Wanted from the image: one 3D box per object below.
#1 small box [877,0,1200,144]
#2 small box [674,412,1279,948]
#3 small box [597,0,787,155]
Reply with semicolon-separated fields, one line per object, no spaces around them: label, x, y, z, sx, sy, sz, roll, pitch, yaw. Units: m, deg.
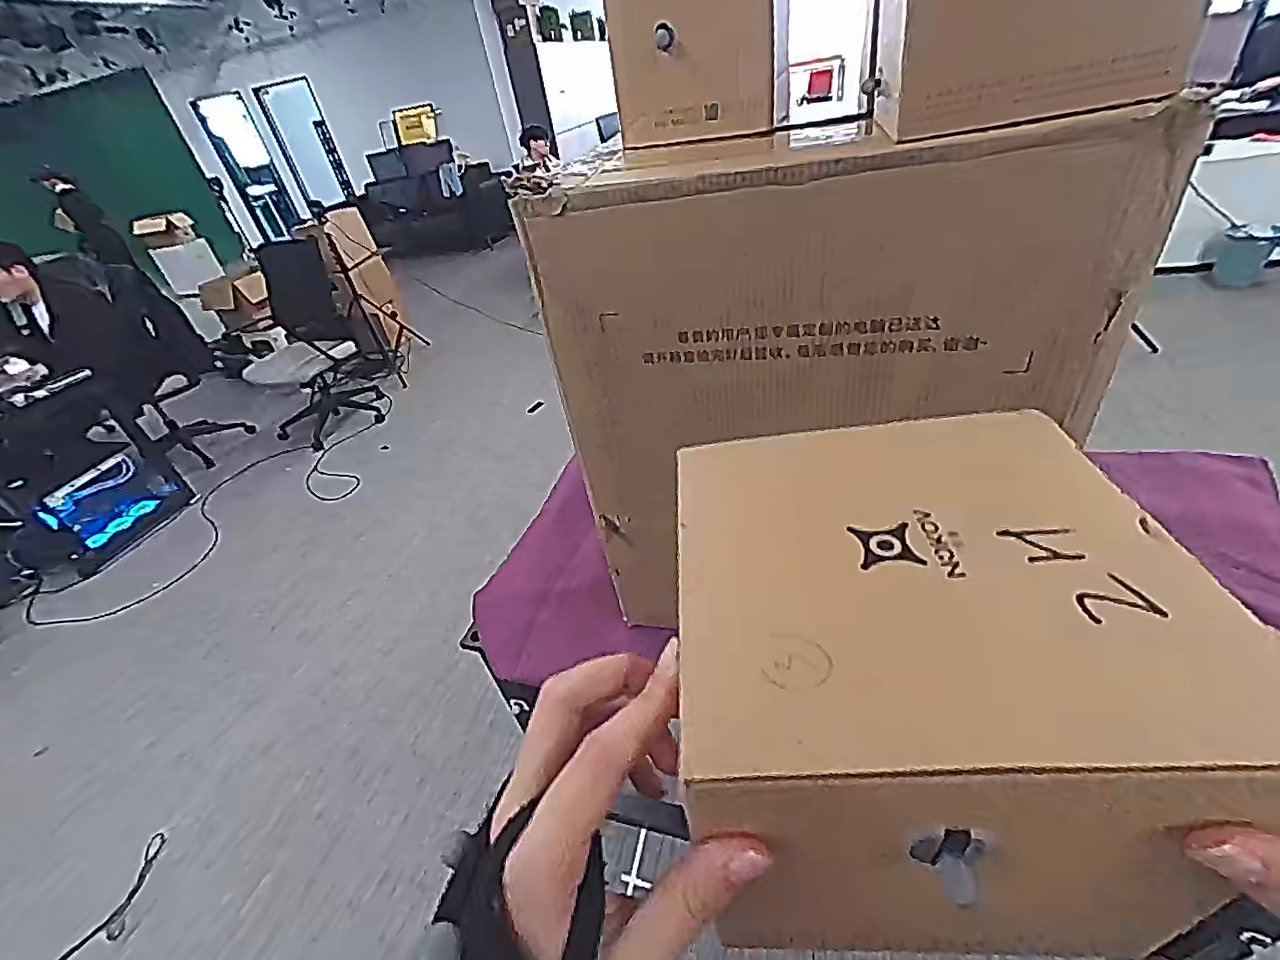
small box;0.276;-0.362;0.394;0.179;0.176;0.168;-1;38;16
small box;0.114;0.089;0.250;0.179;0.176;0.168;-6;37;8
small box;0.070;-0.470;0.596;0.168;0.176;0.179;4;39;19
